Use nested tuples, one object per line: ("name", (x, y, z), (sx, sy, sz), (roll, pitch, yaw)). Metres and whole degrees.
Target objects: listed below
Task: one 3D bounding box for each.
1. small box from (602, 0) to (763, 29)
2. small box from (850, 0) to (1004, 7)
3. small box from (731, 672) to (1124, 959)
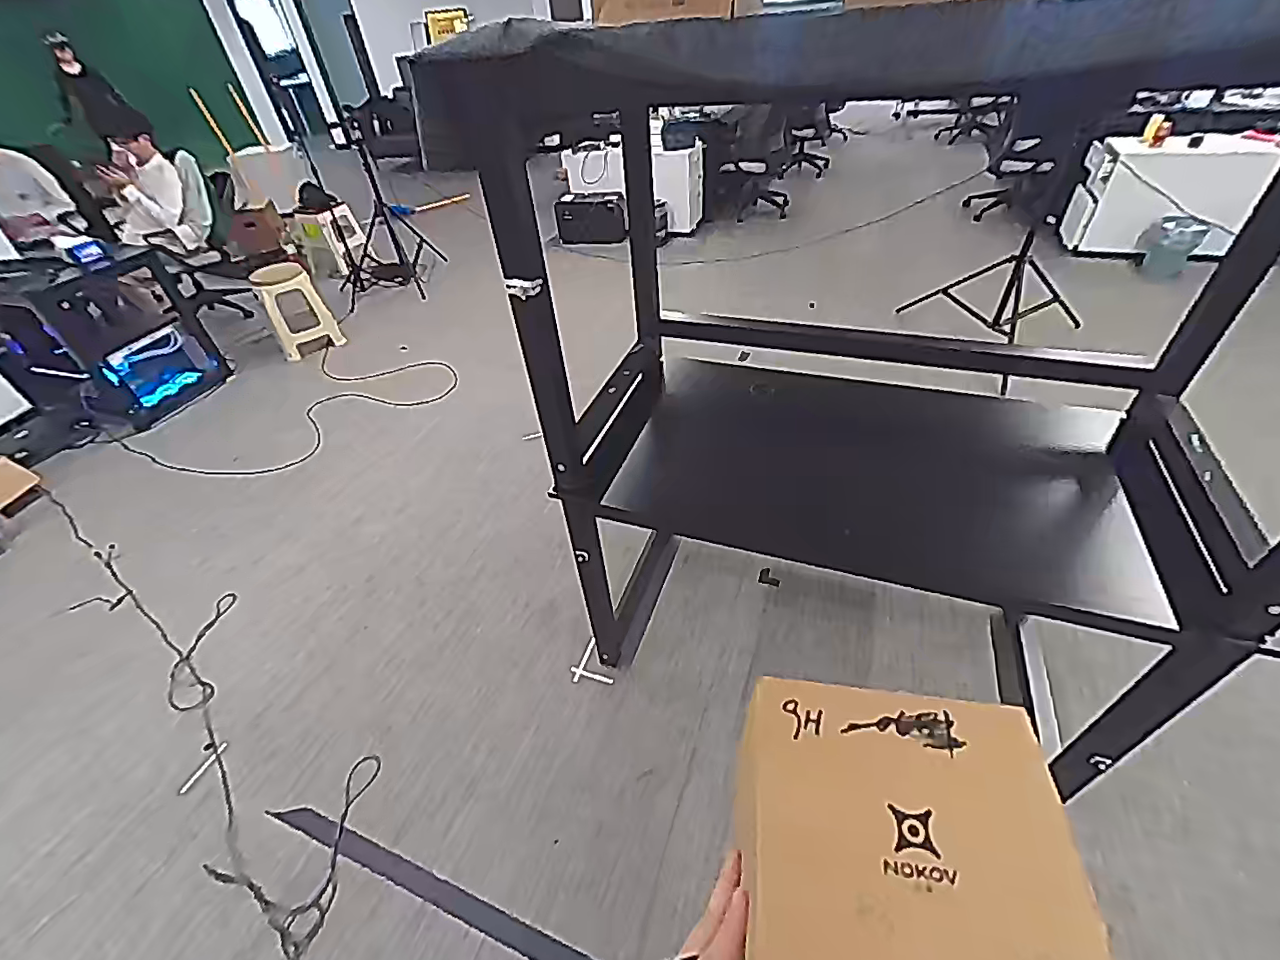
("small box", (0.052, -0.619, 0.605), (0.168, 0.176, 0.179), (11, 43, 17))
("small box", (0.306, -0.569, 0.518), (0.168, 0.176, 0.179), (11, 43, 18))
("small box", (0.148, 0.248, 0.335), (0.168, 0.176, 0.179), (5, 45, 7))
